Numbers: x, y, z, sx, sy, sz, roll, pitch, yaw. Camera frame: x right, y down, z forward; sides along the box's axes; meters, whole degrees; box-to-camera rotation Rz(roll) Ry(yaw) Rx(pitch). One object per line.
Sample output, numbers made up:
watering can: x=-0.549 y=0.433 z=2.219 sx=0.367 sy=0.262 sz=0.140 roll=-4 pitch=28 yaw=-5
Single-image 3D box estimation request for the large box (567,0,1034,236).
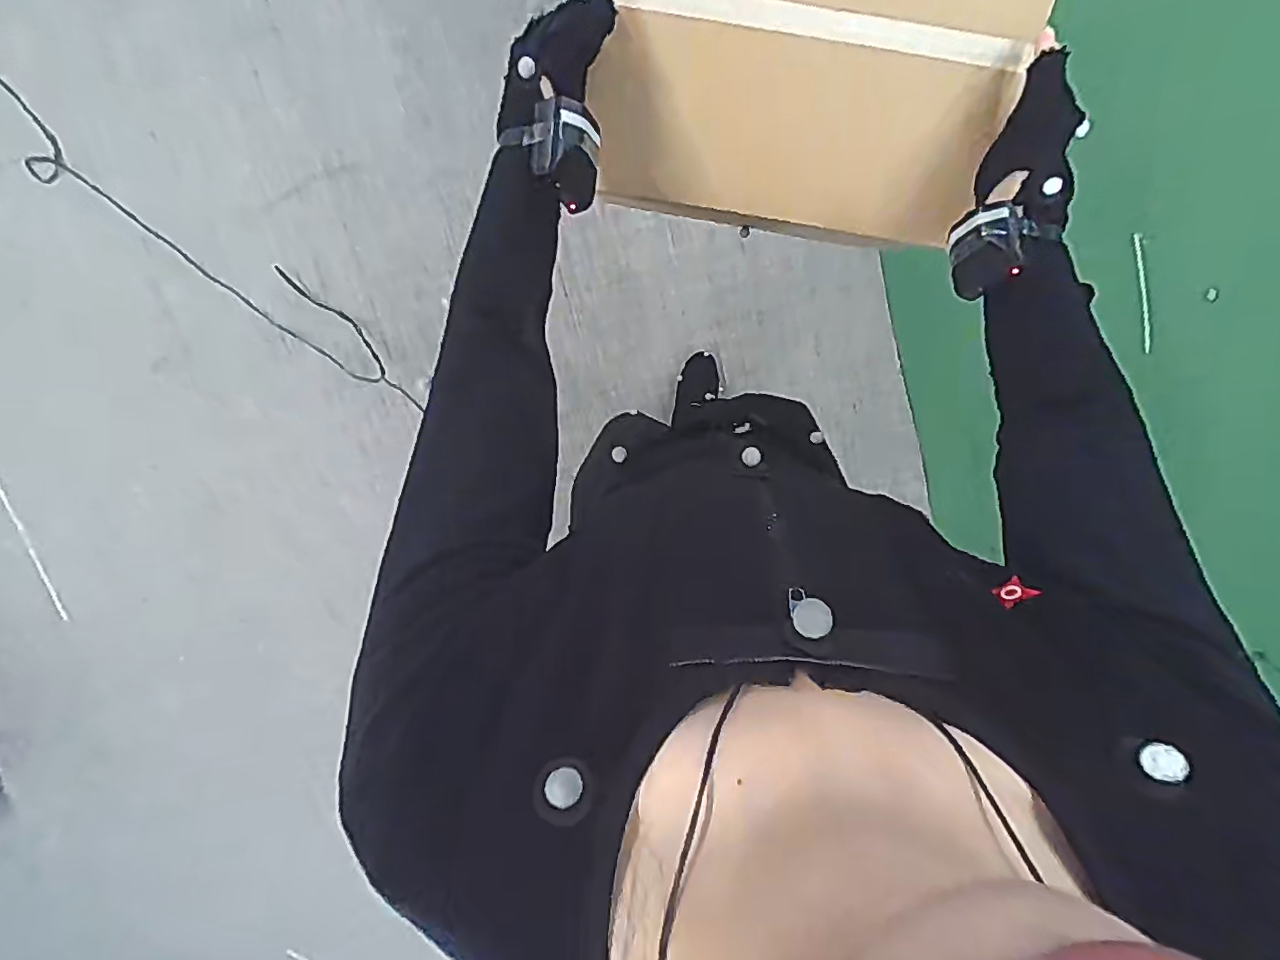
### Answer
large box: x=0.152 y=-0.473 z=0.619 sx=0.408 sy=0.320 sz=0.320 roll=9 pitch=114 yaw=0
